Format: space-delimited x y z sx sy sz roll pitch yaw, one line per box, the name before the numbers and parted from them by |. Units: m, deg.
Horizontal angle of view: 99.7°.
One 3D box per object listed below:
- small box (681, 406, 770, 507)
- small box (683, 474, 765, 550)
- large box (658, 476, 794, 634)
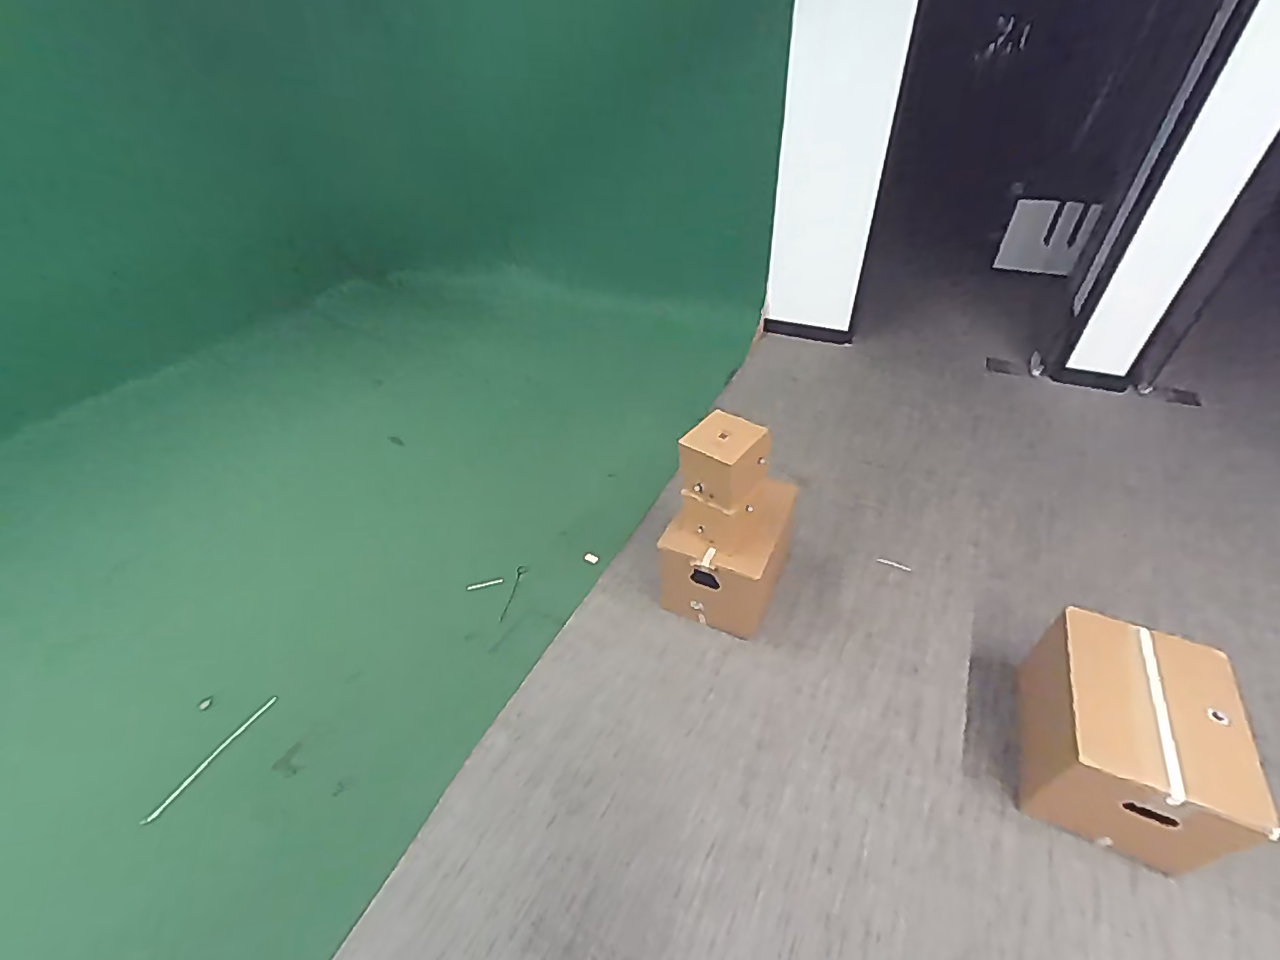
small box | 0.224 -0.063 1.438 0.168 0.176 0.179 28 53 32
small box | 0.235 0.063 1.540 0.168 0.176 0.179 25 51 29
large box | 0.280 0.211 1.735 0.320 0.320 0.408 17 46 21
